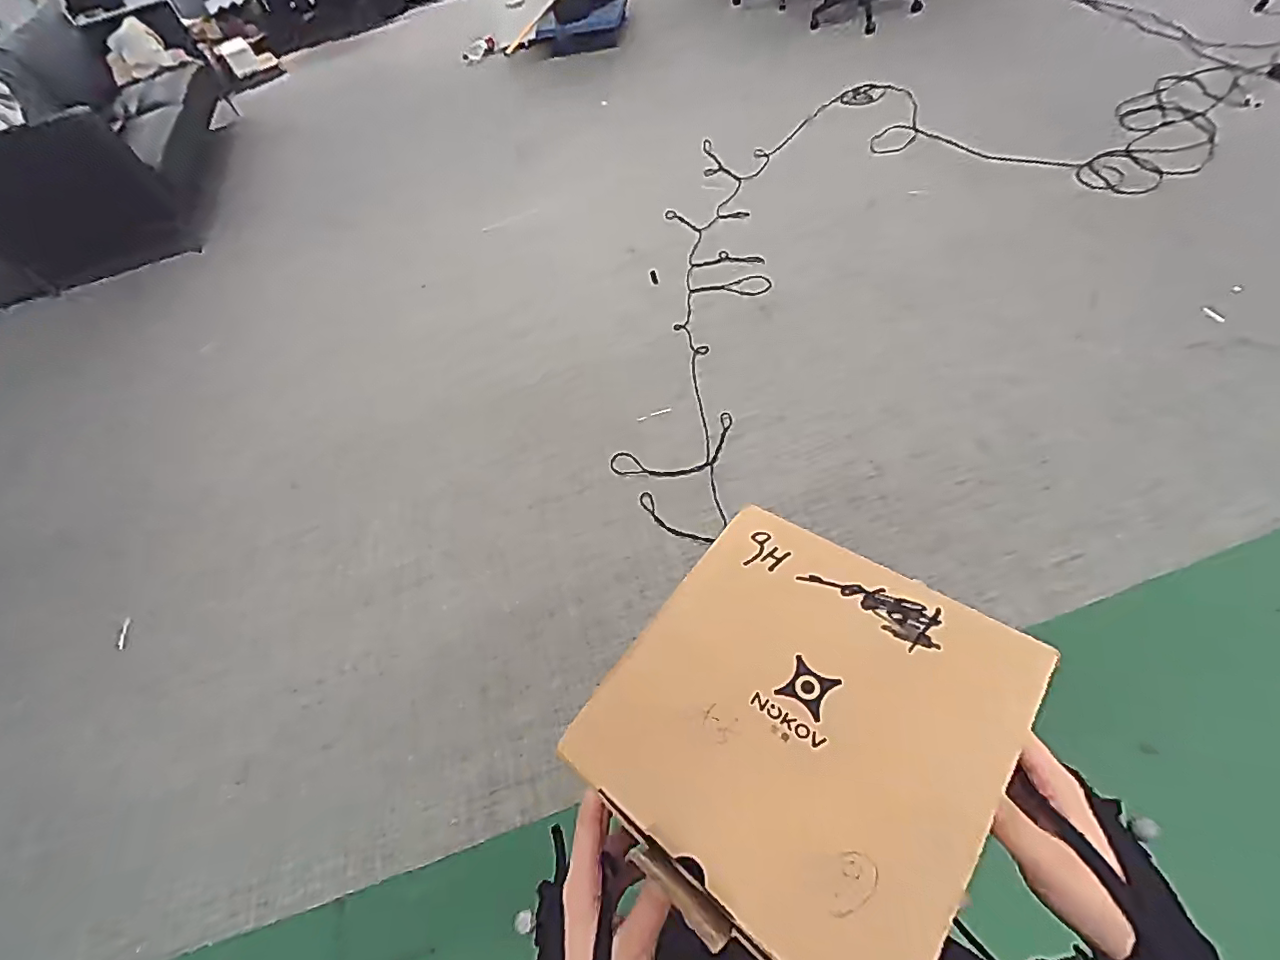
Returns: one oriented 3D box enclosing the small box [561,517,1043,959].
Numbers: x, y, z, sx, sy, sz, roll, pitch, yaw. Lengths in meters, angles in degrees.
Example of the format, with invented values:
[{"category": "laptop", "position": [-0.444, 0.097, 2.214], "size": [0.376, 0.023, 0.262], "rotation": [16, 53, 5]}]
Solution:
[{"category": "small box", "position": [0.090, 0.161, 0.318], "size": [0.168, 0.176, 0.179], "rotation": [27, 63, 32]}]
